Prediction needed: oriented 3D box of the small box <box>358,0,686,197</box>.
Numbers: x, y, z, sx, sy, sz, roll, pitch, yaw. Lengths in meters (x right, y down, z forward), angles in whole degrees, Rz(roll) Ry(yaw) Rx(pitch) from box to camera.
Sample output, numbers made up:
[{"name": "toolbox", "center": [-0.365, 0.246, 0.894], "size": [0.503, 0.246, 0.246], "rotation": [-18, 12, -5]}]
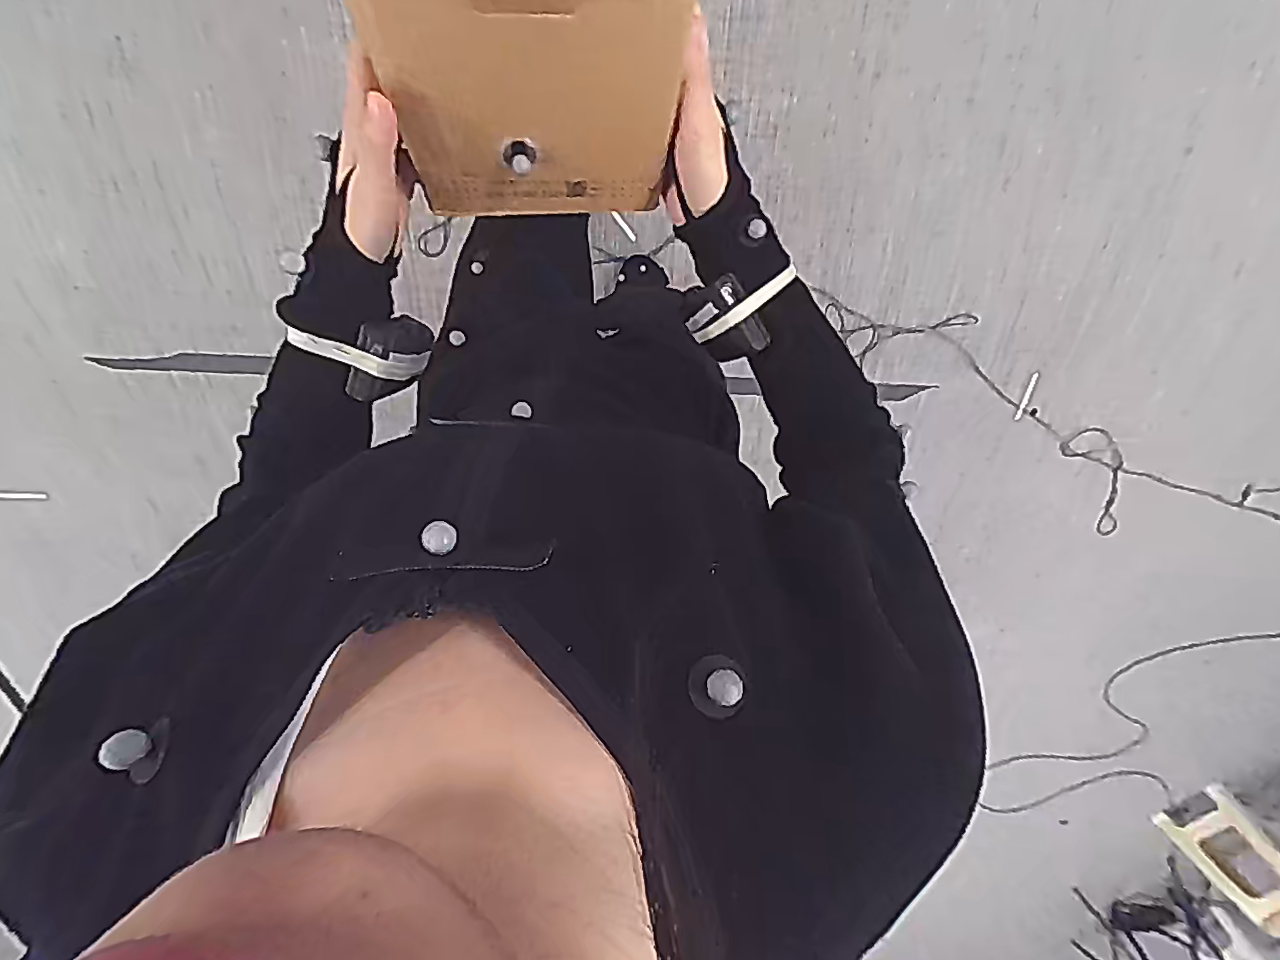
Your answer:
[{"name": "small box", "center": [-0.071, -0.304, 0.325], "size": [0.168, 0.176, 0.179], "rotation": [-5, 80, -6]}]
